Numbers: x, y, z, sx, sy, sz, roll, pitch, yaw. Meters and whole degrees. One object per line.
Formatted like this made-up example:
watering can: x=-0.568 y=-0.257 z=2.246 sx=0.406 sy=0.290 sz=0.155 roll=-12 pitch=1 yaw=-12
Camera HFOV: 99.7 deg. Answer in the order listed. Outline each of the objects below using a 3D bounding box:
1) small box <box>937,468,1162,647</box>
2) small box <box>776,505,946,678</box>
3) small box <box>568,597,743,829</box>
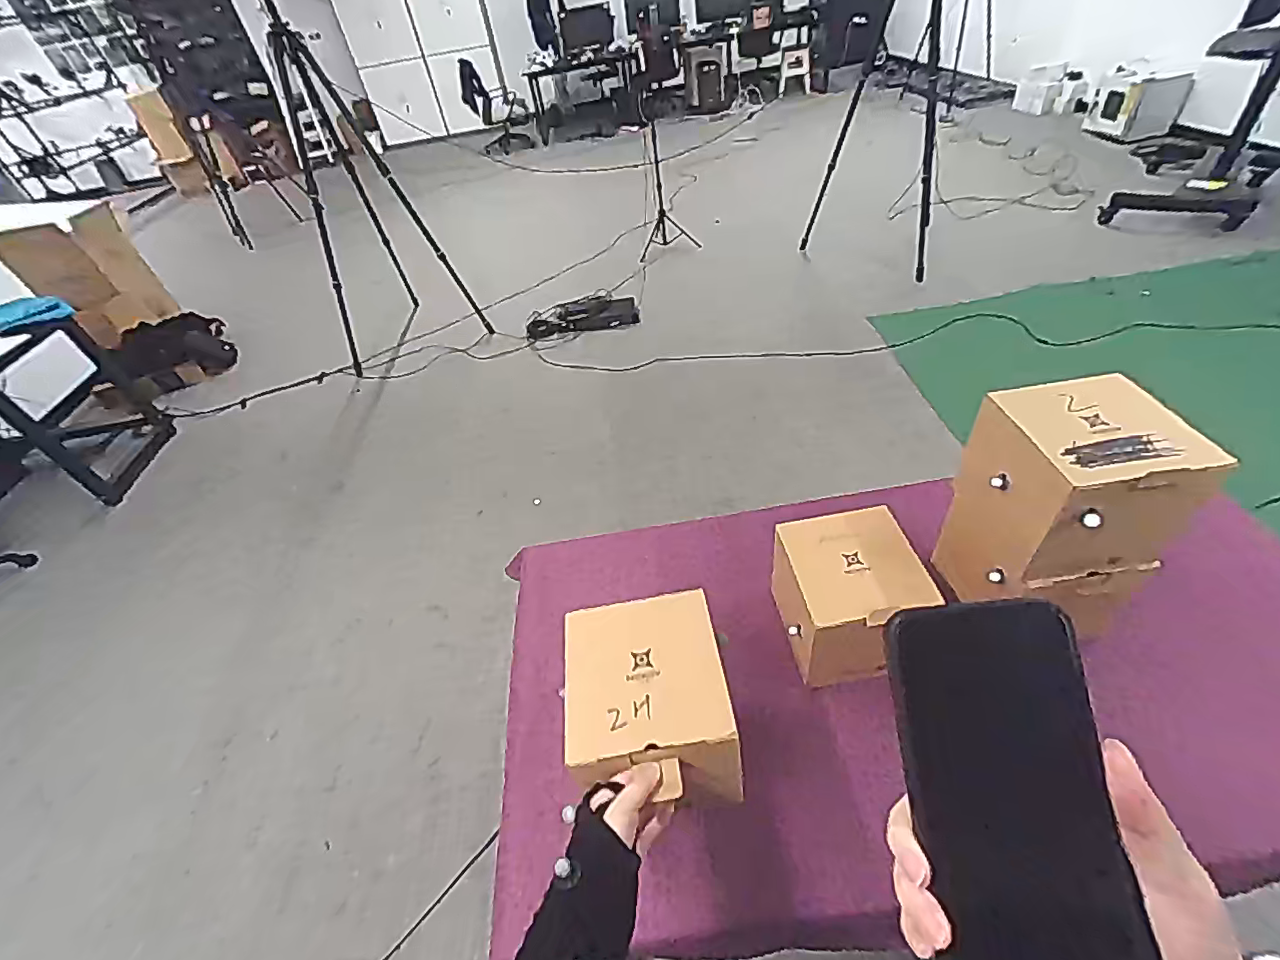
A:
small box: x=0.560 y=0.111 z=0.776 sx=0.168 sy=0.176 sz=0.179 roll=-11 pitch=44 yaw=2
small box: x=0.300 y=0.166 z=0.777 sx=0.168 sy=0.176 sz=0.179 roll=-10 pitch=43 yaw=1
small box: x=0.017 y=0.265 z=0.619 sx=0.168 sy=0.176 sz=0.179 roll=-11 pitch=40 yaw=2
